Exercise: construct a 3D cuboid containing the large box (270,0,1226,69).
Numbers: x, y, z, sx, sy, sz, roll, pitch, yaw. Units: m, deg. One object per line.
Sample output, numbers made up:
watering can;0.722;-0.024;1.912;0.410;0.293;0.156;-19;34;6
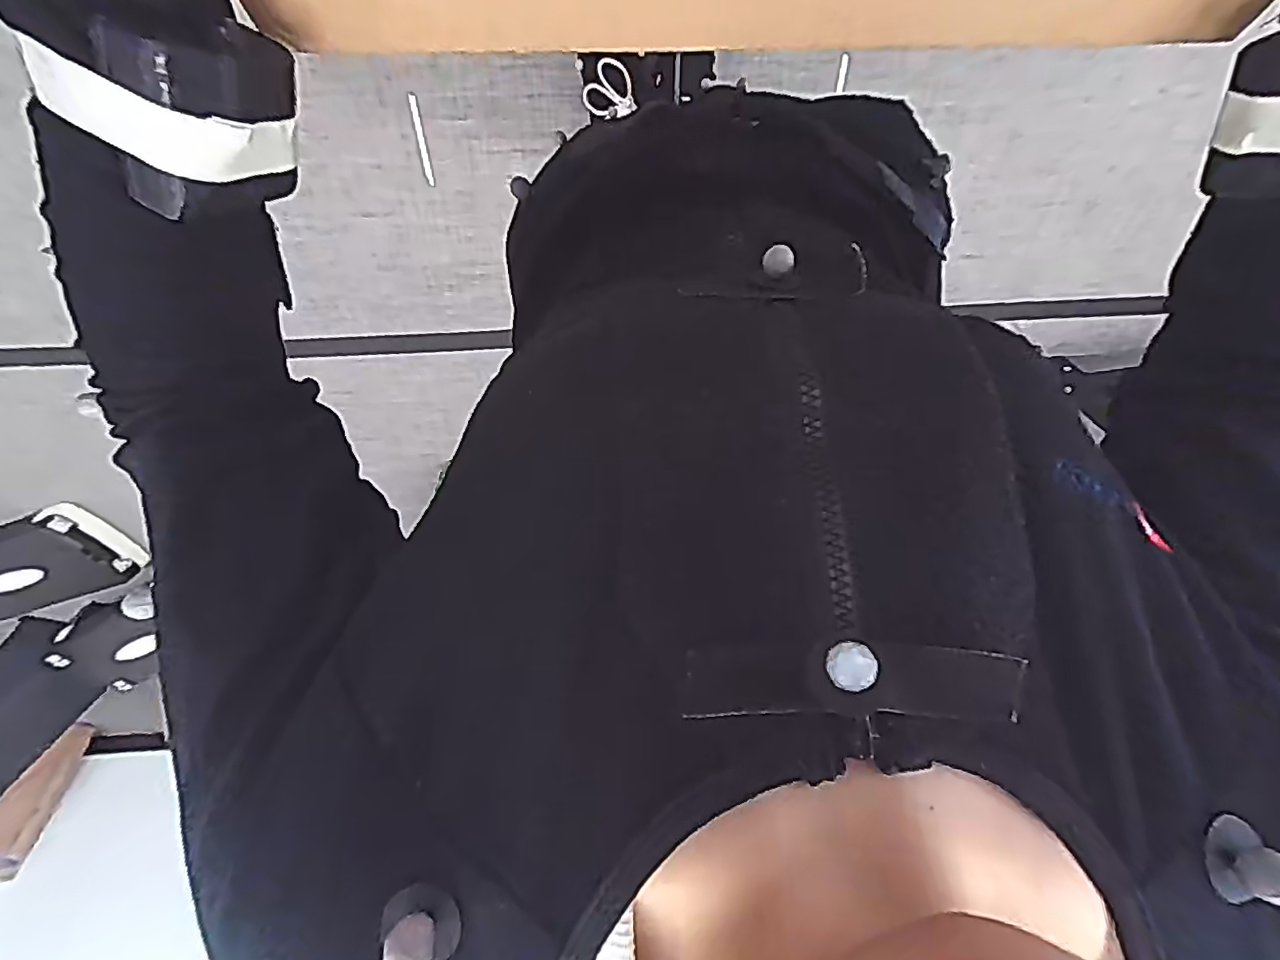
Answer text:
large box;0.049;-0.378;0.145;0.408;0.320;0.320;-3;159;-3
